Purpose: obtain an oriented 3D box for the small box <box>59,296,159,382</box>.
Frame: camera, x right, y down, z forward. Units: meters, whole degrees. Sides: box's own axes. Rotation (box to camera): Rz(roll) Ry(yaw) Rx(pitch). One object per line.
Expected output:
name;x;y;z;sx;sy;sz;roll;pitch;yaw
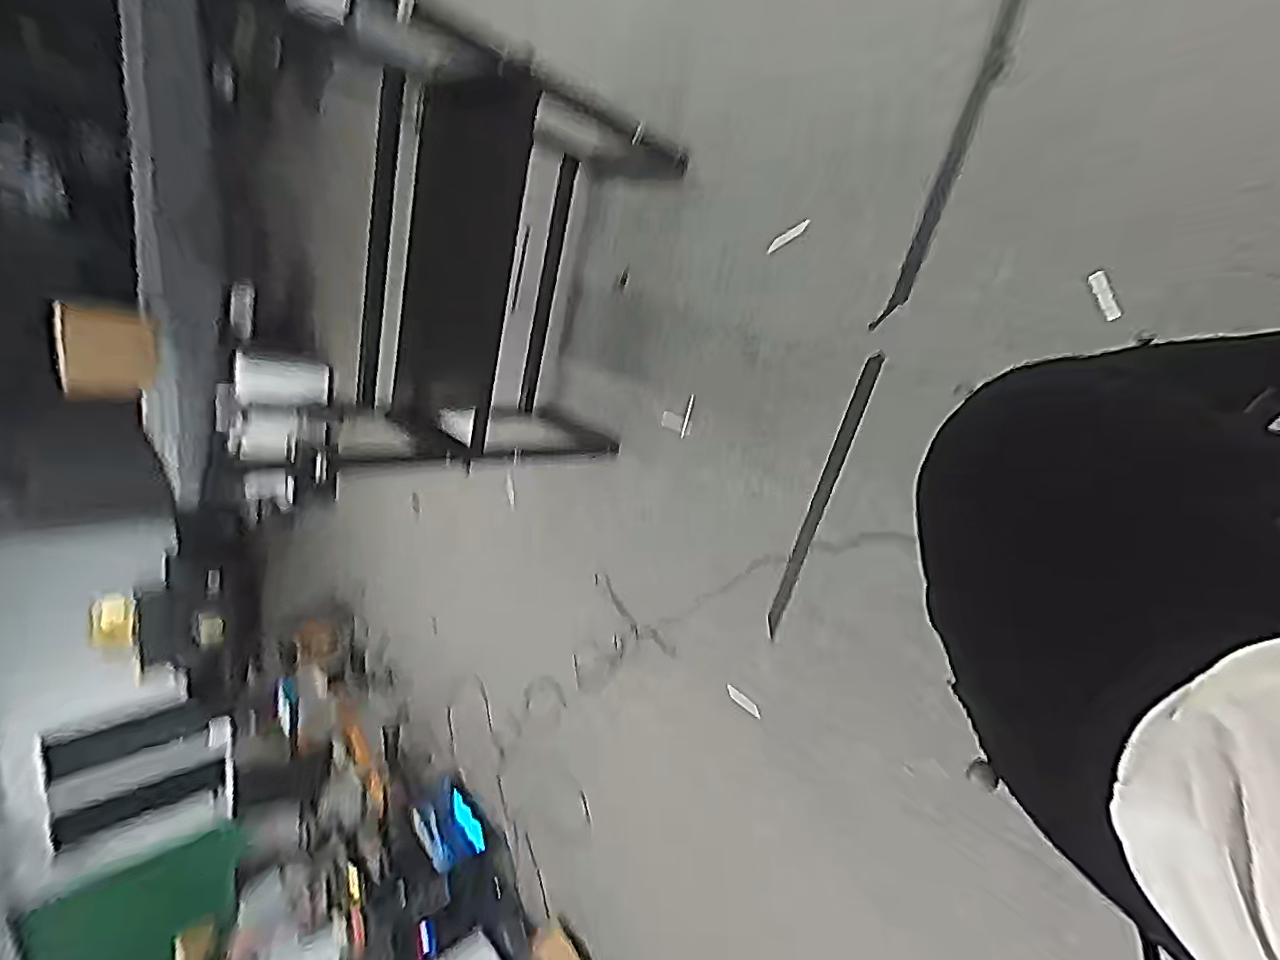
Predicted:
small box;-1.375;-0.361;1.402;0.168;0.176;0.179;27;111;38
